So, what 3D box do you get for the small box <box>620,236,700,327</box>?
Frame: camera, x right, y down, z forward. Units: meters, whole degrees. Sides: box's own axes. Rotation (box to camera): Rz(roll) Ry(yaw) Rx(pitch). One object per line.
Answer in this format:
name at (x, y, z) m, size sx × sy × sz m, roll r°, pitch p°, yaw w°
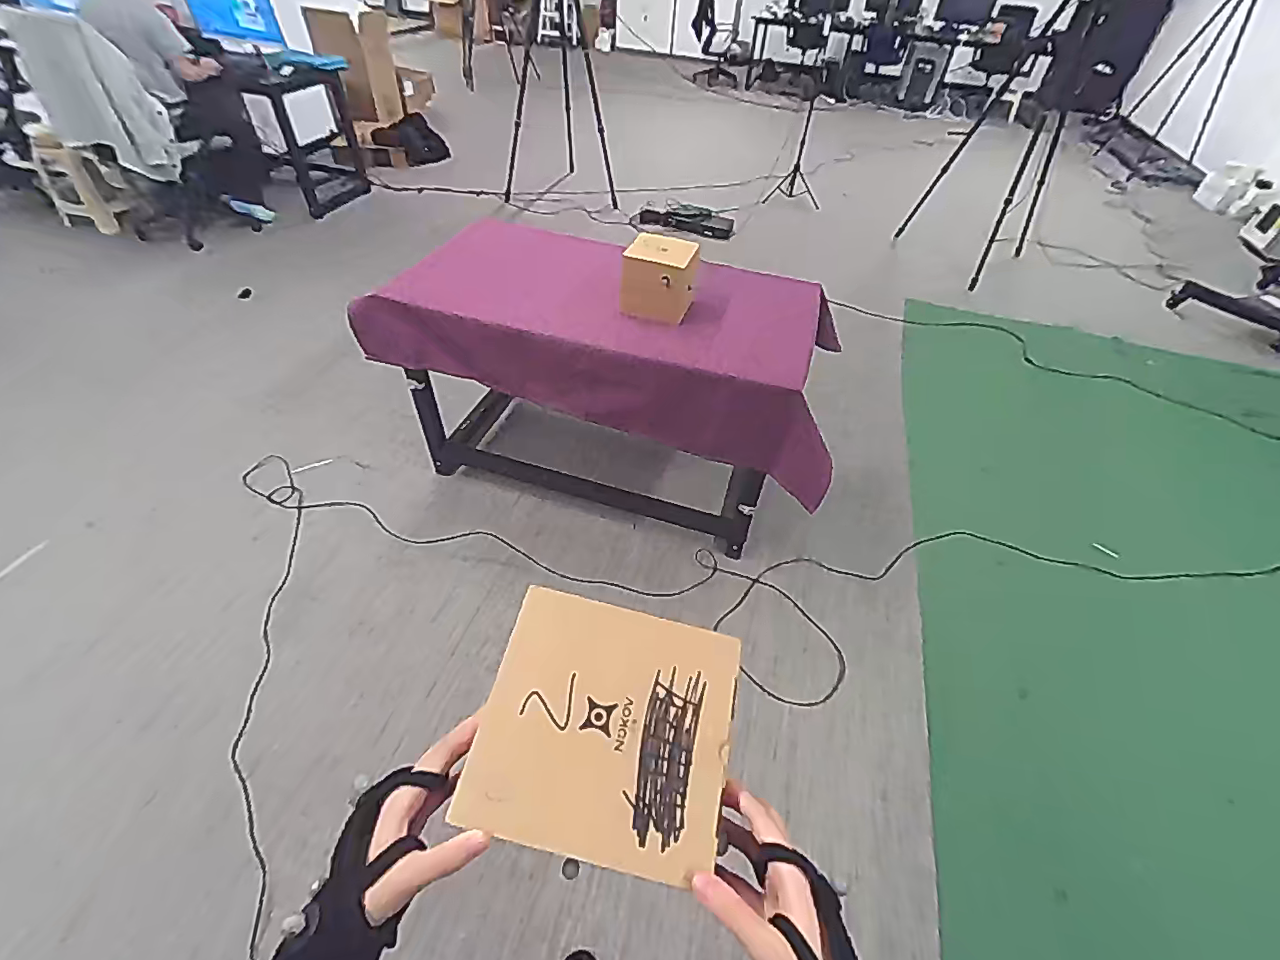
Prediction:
small box at (0.052, -0.548, 1.502) m, size 0.179 × 0.176 × 0.168 m, roll 16°, pitch 47°, yaw 11°
